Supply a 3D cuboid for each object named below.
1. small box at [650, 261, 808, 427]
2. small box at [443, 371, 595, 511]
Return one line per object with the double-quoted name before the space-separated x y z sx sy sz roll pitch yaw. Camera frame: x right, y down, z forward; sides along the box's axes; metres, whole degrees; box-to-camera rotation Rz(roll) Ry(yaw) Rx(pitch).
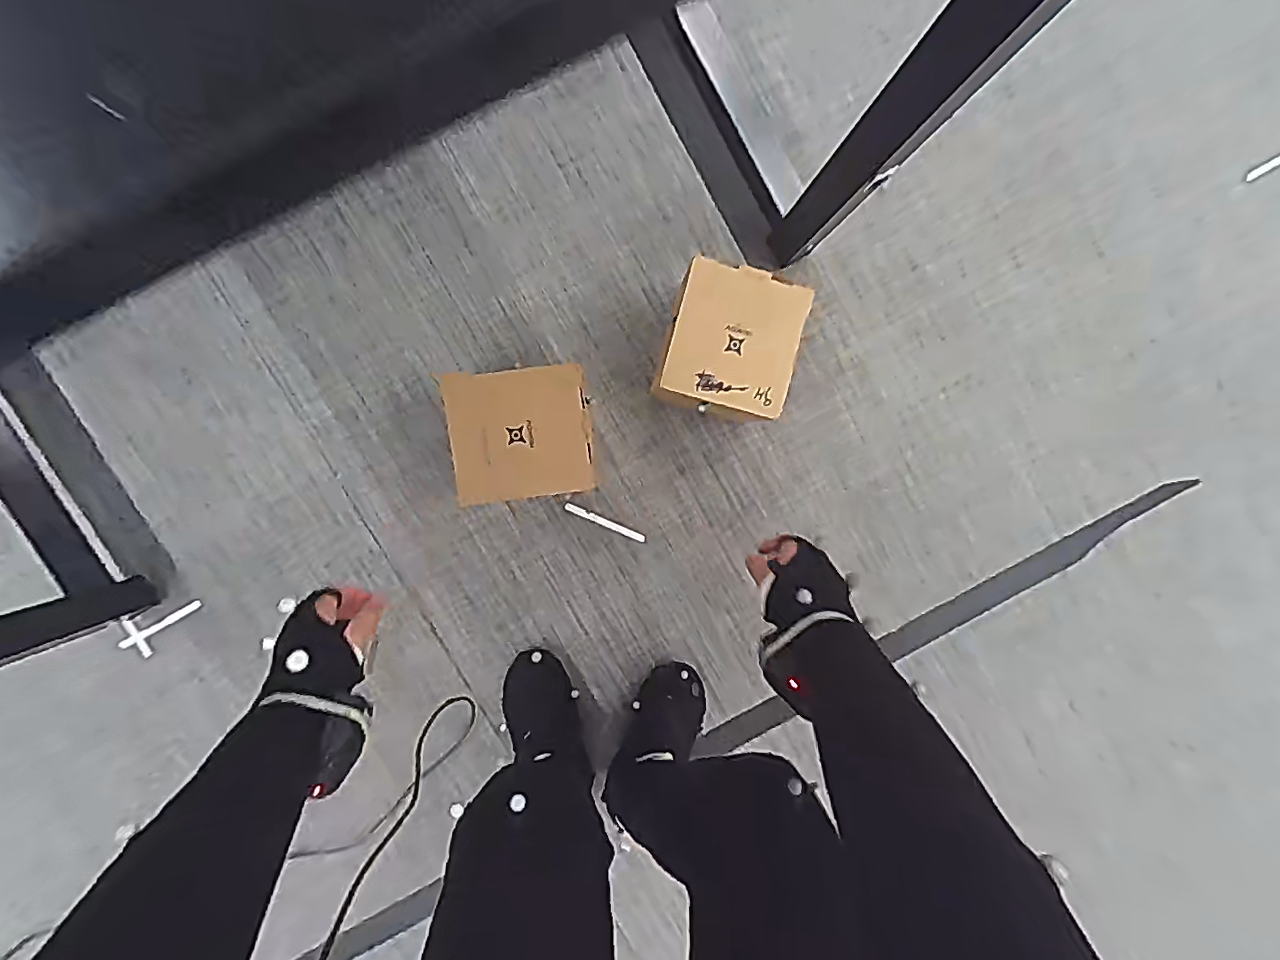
"small box" 0.115 -0.182 0.780 0.168 0.176 0.179 15 93 -4
"small box" -0.160 -0.056 0.774 0.179 0.176 0.168 -8 93 -2
